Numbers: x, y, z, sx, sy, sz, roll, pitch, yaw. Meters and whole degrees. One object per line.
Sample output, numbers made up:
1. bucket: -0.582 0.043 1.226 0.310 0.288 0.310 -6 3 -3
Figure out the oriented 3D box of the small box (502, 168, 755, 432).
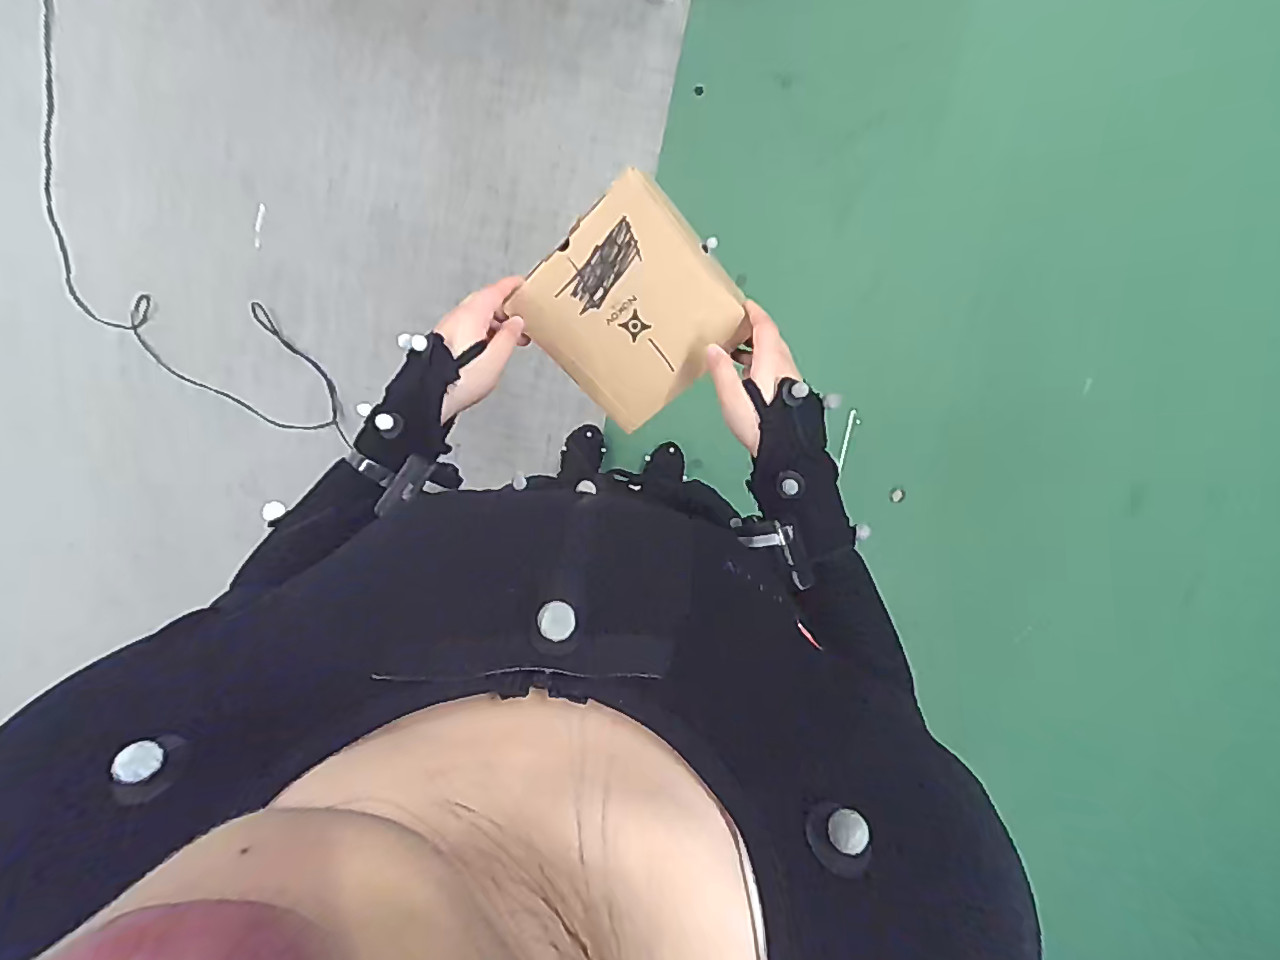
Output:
1. small box: -0.006 -0.188 0.561 0.168 0.176 0.179 -37 111 23
